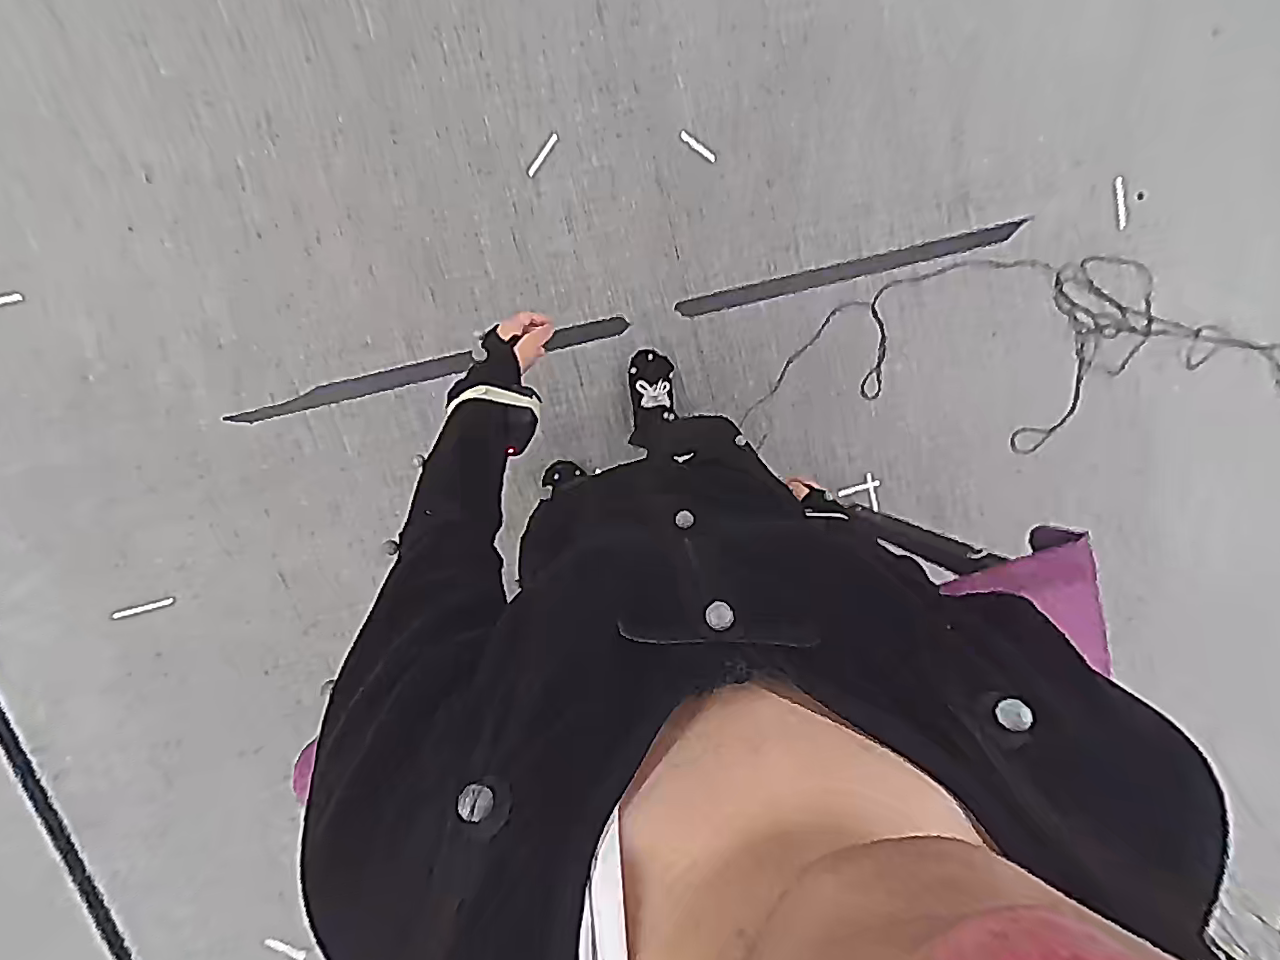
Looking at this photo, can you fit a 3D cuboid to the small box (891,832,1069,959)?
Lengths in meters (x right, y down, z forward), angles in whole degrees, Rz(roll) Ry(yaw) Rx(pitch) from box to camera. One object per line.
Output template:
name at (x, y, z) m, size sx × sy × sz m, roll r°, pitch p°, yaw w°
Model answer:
small box at (0.521, 0.690, 0.841) m, size 0.168 × 0.176 × 0.179 m, roll -18°, pitch 98°, yaw -3°
